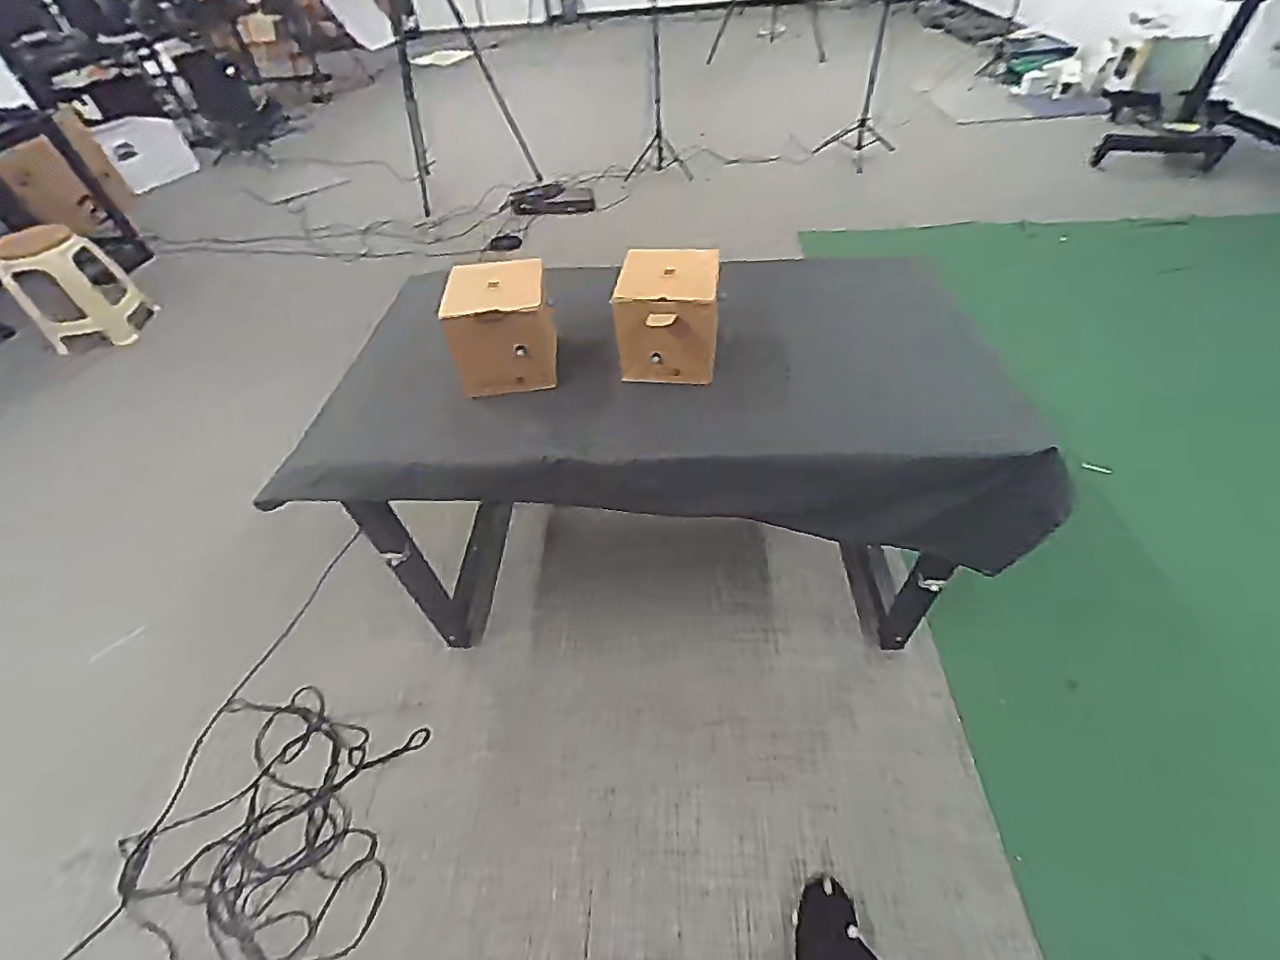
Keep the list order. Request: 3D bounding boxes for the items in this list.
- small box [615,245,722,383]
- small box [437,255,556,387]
[{"bbox_3d":[0.054,-0.296,0.964,0.168,0.176,0.179,5,48,7],"label":"small box"},{"bbox_3d":[-0.244,-0.280,0.970,0.168,0.176,0.179,-5,46,-3],"label":"small box"}]
